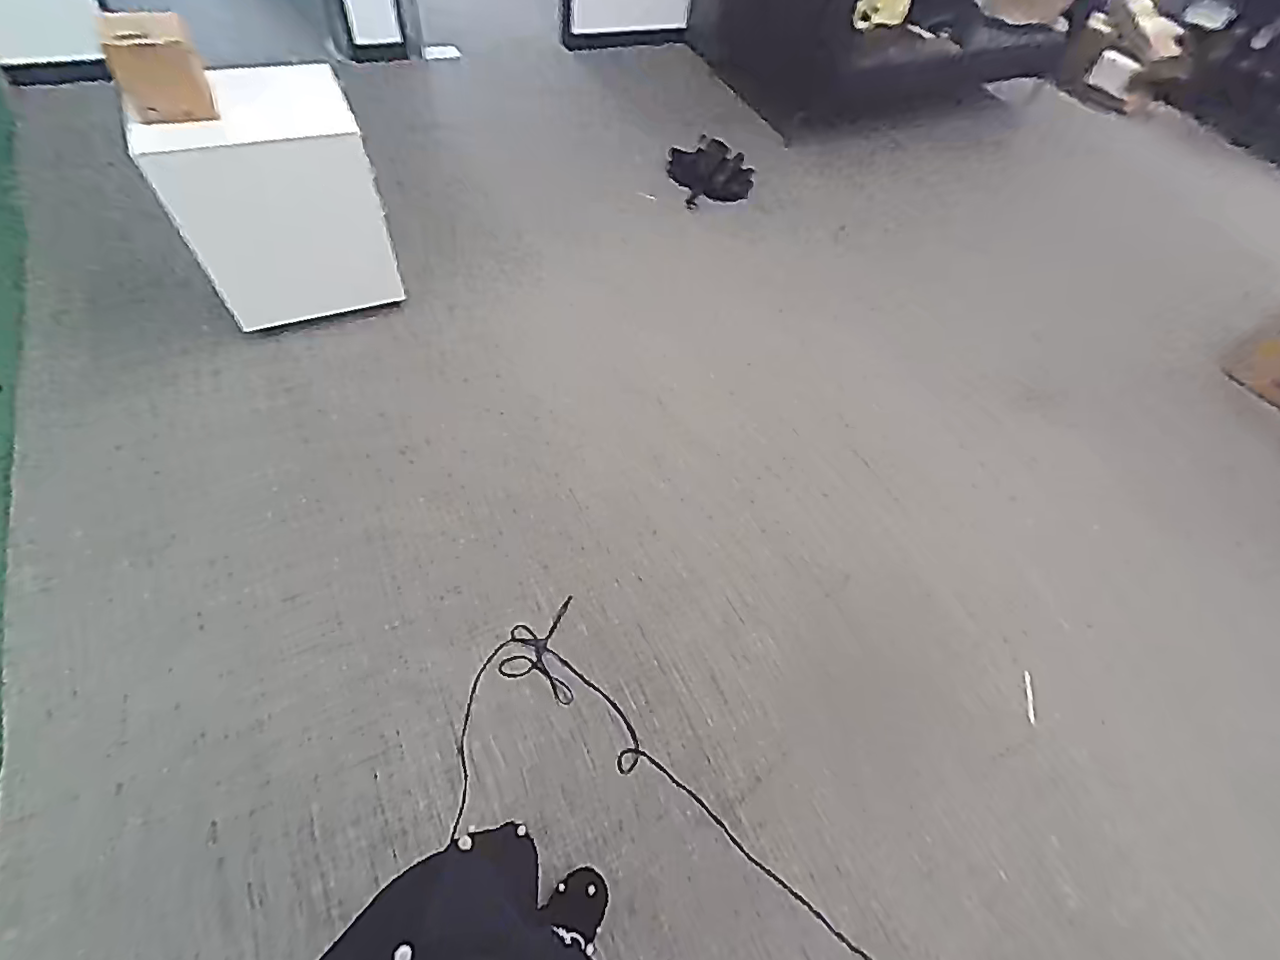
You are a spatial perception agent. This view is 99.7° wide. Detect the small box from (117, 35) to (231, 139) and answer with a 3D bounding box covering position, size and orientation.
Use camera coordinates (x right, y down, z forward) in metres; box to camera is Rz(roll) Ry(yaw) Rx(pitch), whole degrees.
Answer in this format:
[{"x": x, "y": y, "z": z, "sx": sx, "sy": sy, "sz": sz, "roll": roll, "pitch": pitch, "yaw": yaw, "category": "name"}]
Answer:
[{"x": -1.168, "y": -0.986, "z": 1.366, "sx": 0.168, "sy": 0.176, "sz": 0.179, "roll": -19, "pitch": 61, "yaw": -20, "category": "small box"}]
